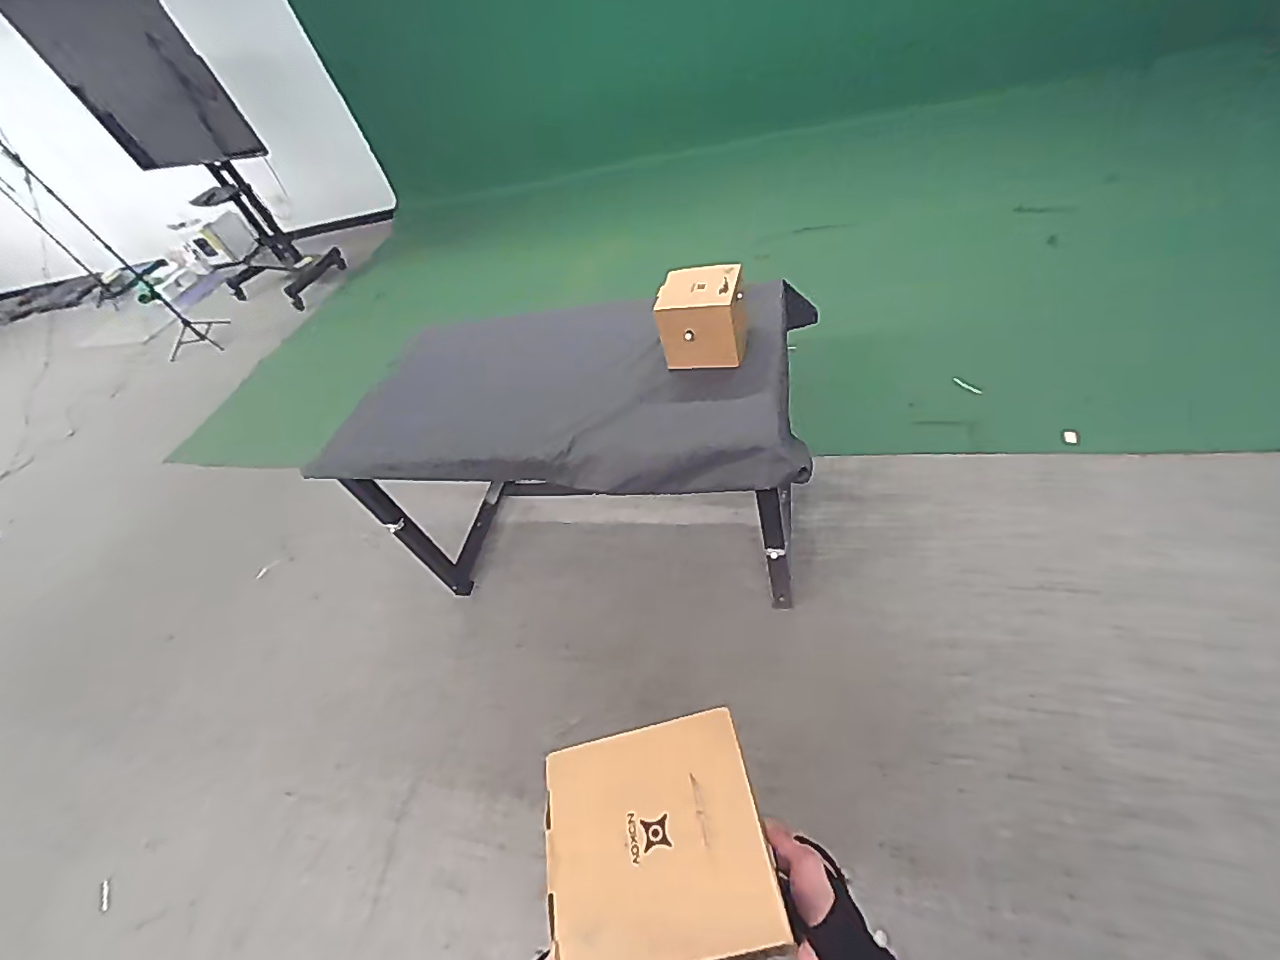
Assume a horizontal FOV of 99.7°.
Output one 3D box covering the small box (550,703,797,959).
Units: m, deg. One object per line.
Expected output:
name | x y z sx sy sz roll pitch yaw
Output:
small box | 0.032 0.334 0.493 0.179 0.176 0.168 -17 47 2

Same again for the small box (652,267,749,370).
small box | 0.149 -0.373 1.271 0.179 0.176 0.168 2 52 22
